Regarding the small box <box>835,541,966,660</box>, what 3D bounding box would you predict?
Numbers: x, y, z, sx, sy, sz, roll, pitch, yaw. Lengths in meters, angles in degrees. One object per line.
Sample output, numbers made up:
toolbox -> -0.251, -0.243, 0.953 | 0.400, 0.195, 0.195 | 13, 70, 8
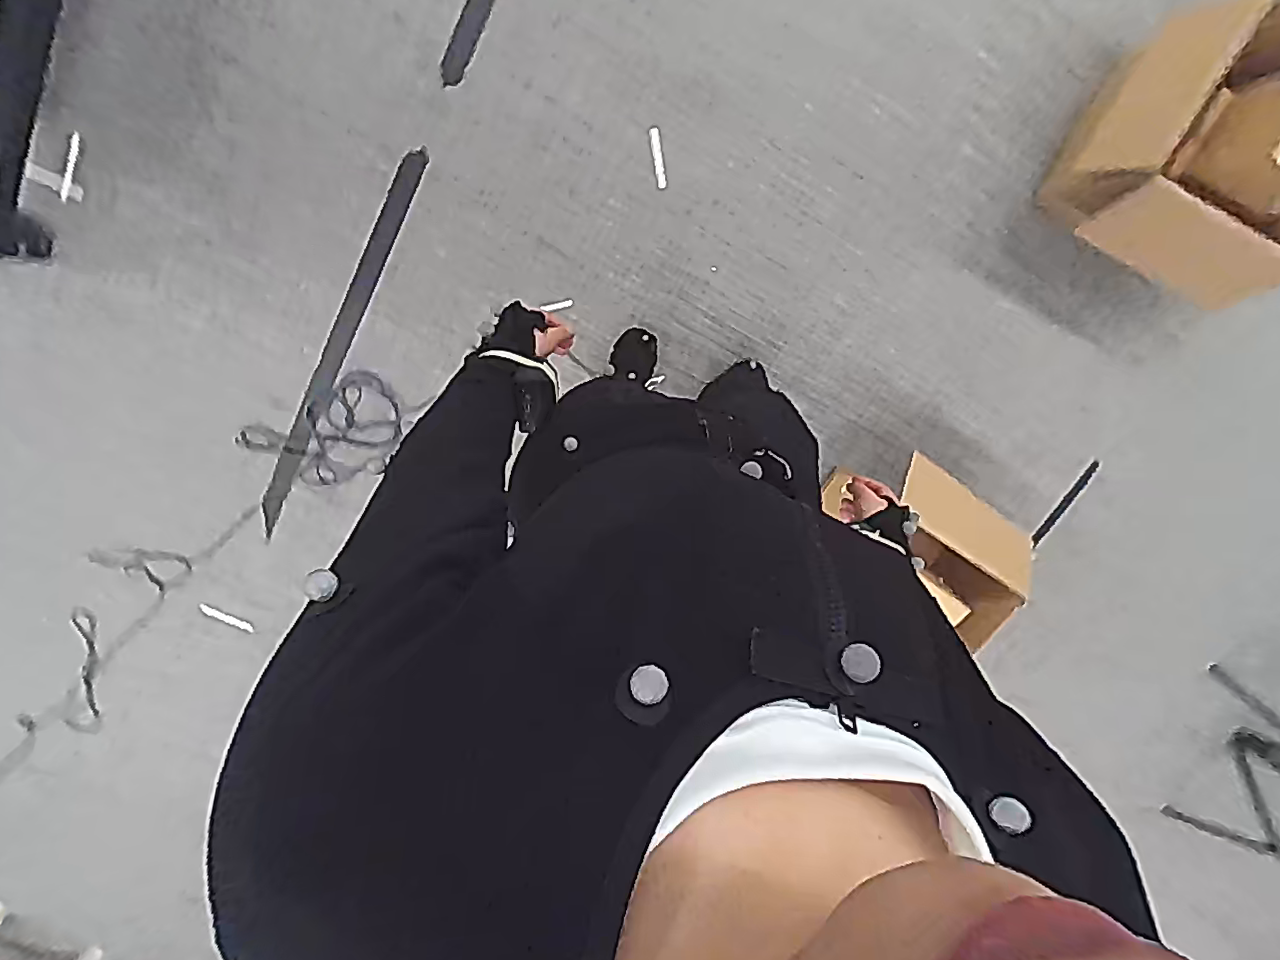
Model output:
small box -> 0.591, 0.270, 1.248 | 0.179, 0.176, 0.168 | 34, 106, -14
